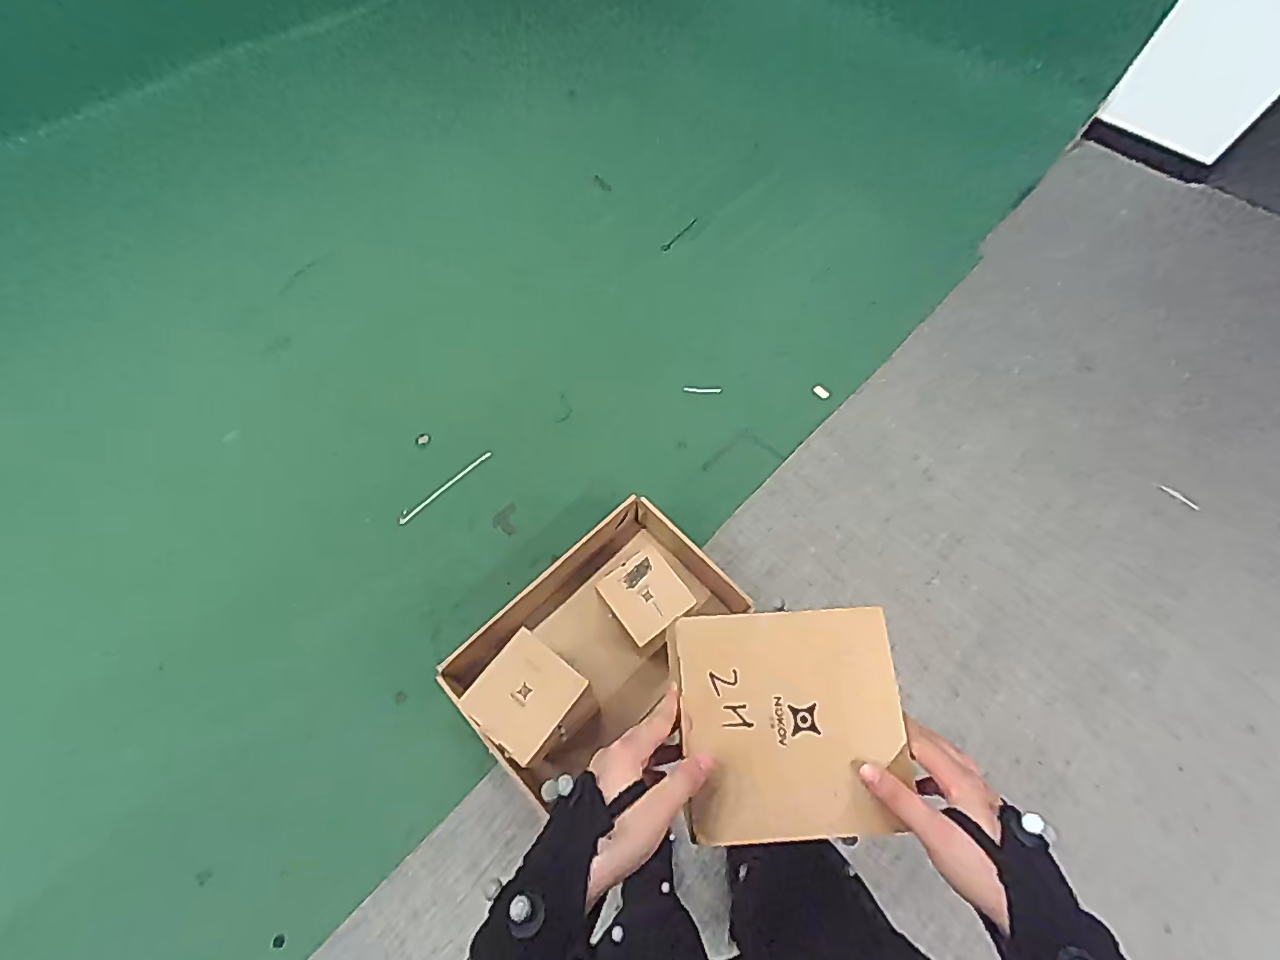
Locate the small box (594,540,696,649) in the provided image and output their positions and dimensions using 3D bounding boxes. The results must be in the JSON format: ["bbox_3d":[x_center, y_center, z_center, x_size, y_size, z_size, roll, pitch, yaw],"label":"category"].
[{"bbox_3d":[0.008,0.276,1.278,0.168,0.176,0.179,-34,71,-15],"label":"small box"}]

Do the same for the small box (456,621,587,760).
[{"bbox_3d":[-0.212,0.403,1.029,0.168,0.176,0.179,35,67,13],"label":"small box"}]

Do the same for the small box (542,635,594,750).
[{"bbox_3d":[-0.214,0.470,1.179,0.179,0.176,0.168,-40,72,-17],"label":"small box"}]

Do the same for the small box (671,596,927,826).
[{"bbox_3d":[0.126,0.200,0.503,0.179,0.176,0.168,-3,72,-1],"label":"small box"}]
